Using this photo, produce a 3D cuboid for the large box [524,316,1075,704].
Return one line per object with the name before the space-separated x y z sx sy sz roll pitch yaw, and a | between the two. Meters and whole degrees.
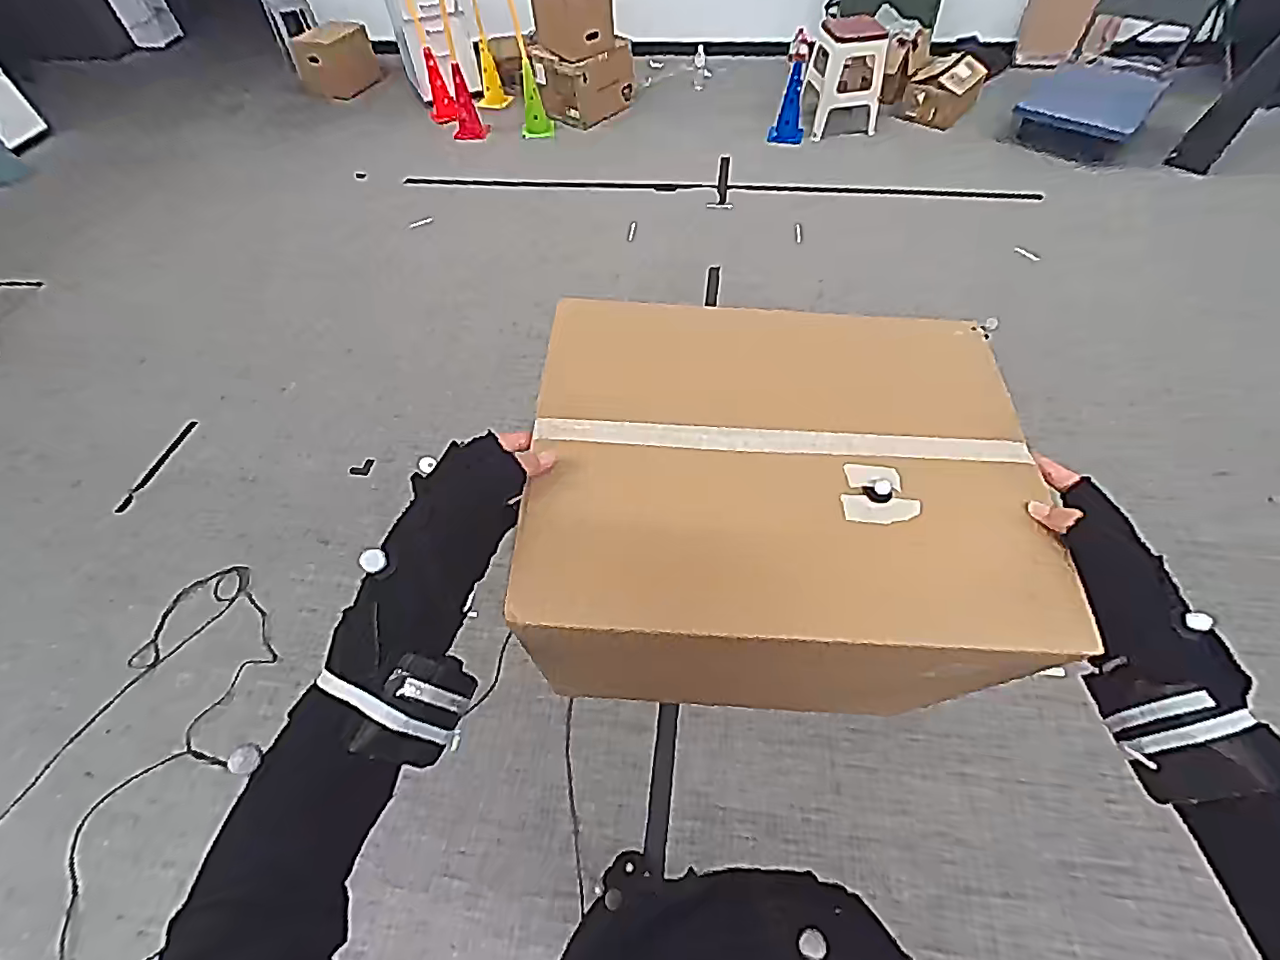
large box | 0.111 0.052 0.584 0.408 0.320 0.320 3 60 -1
